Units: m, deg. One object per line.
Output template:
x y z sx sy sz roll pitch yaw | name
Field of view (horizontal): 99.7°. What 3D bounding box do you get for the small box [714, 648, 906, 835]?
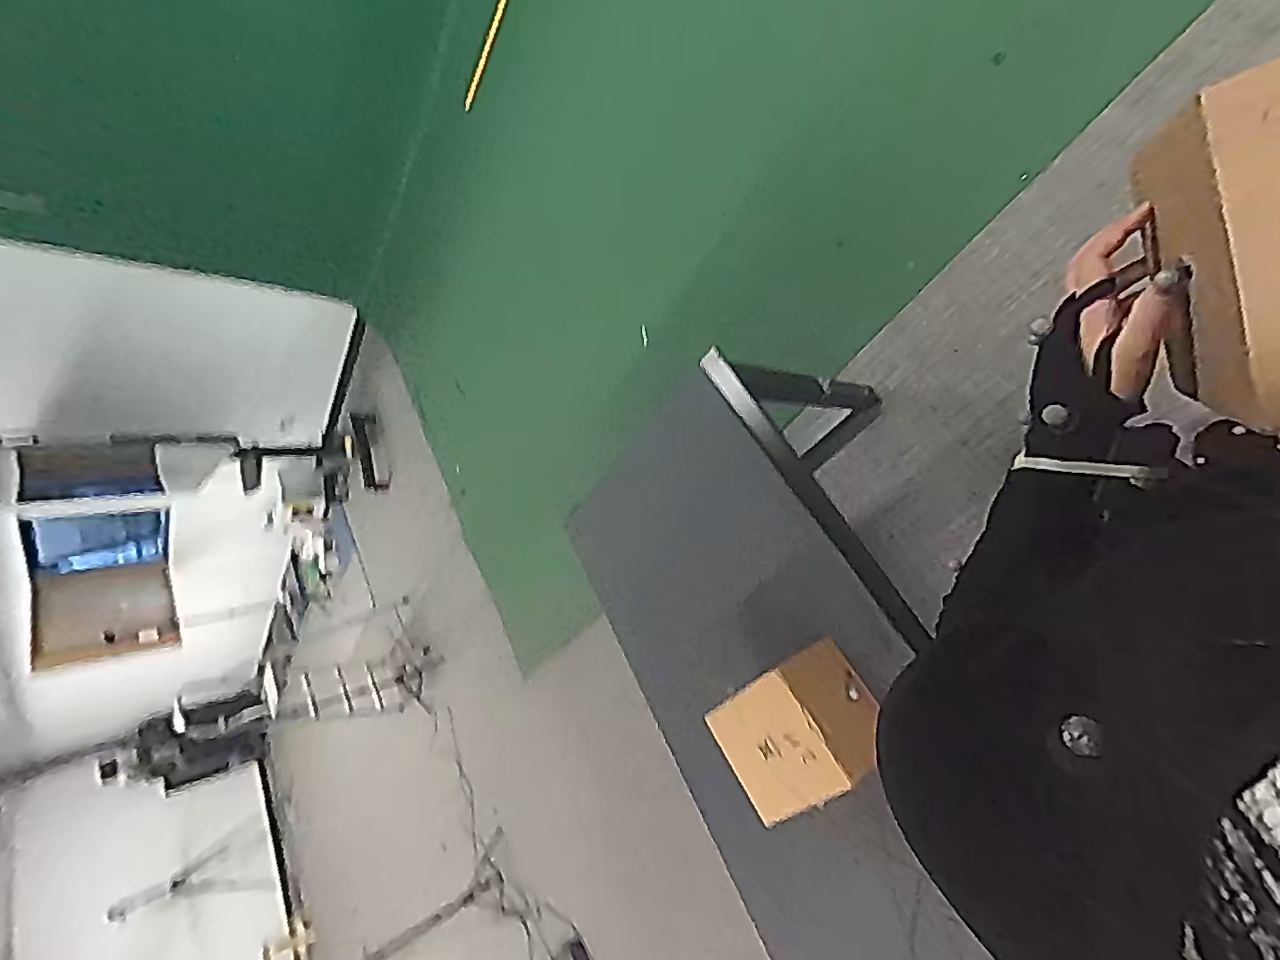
0.251 0.377 0.798 0.179 0.176 0.168 -53 58 34 | small box
